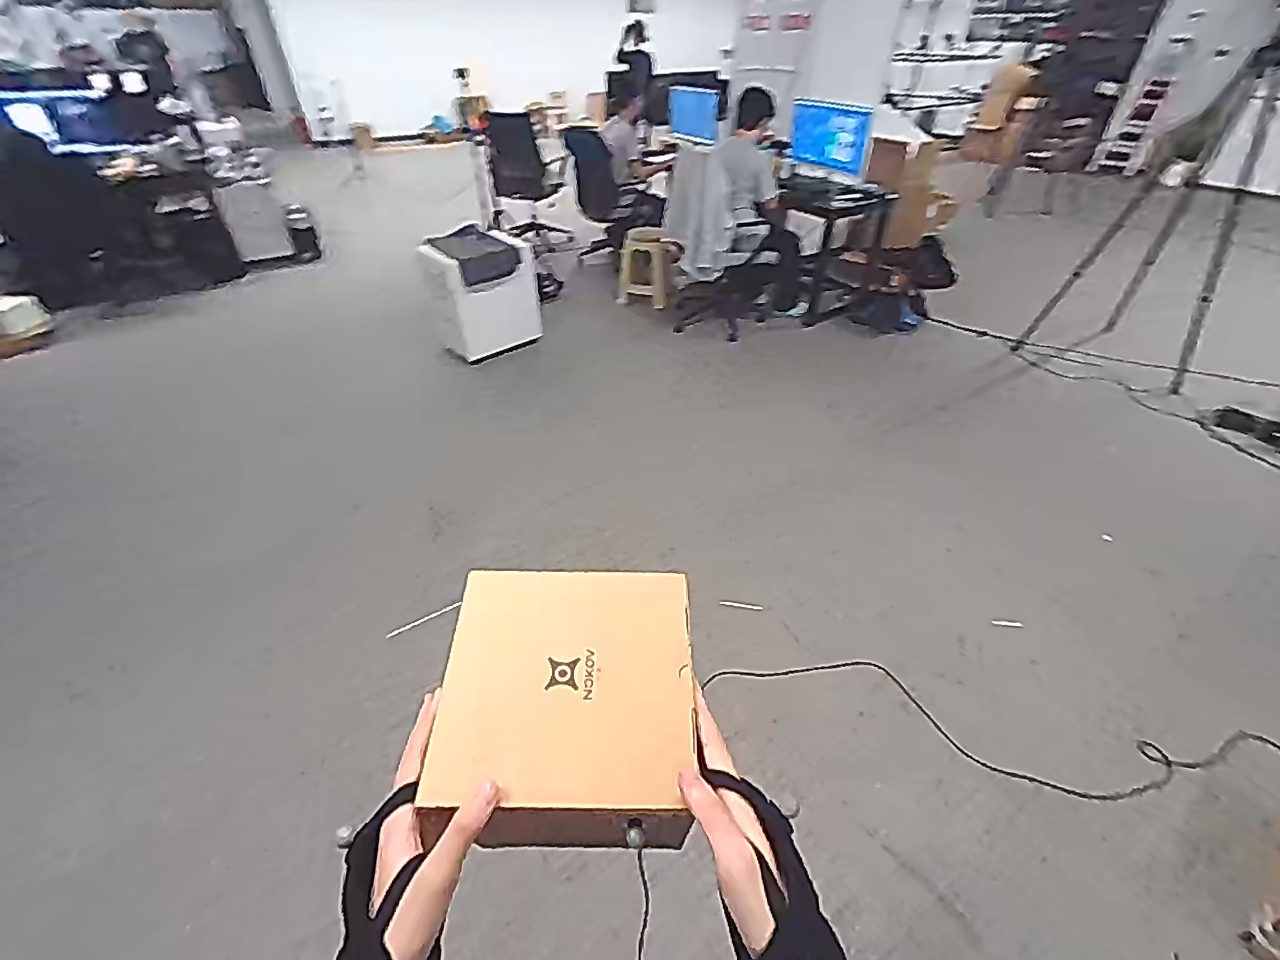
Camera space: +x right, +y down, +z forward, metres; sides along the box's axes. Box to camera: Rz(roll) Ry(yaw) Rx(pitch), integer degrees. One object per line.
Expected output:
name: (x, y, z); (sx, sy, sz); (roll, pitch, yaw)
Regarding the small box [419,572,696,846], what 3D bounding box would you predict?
small box: (-0.050, 0.192, 0.445); (0.179, 0.176, 0.168); (2, 49, 0)
